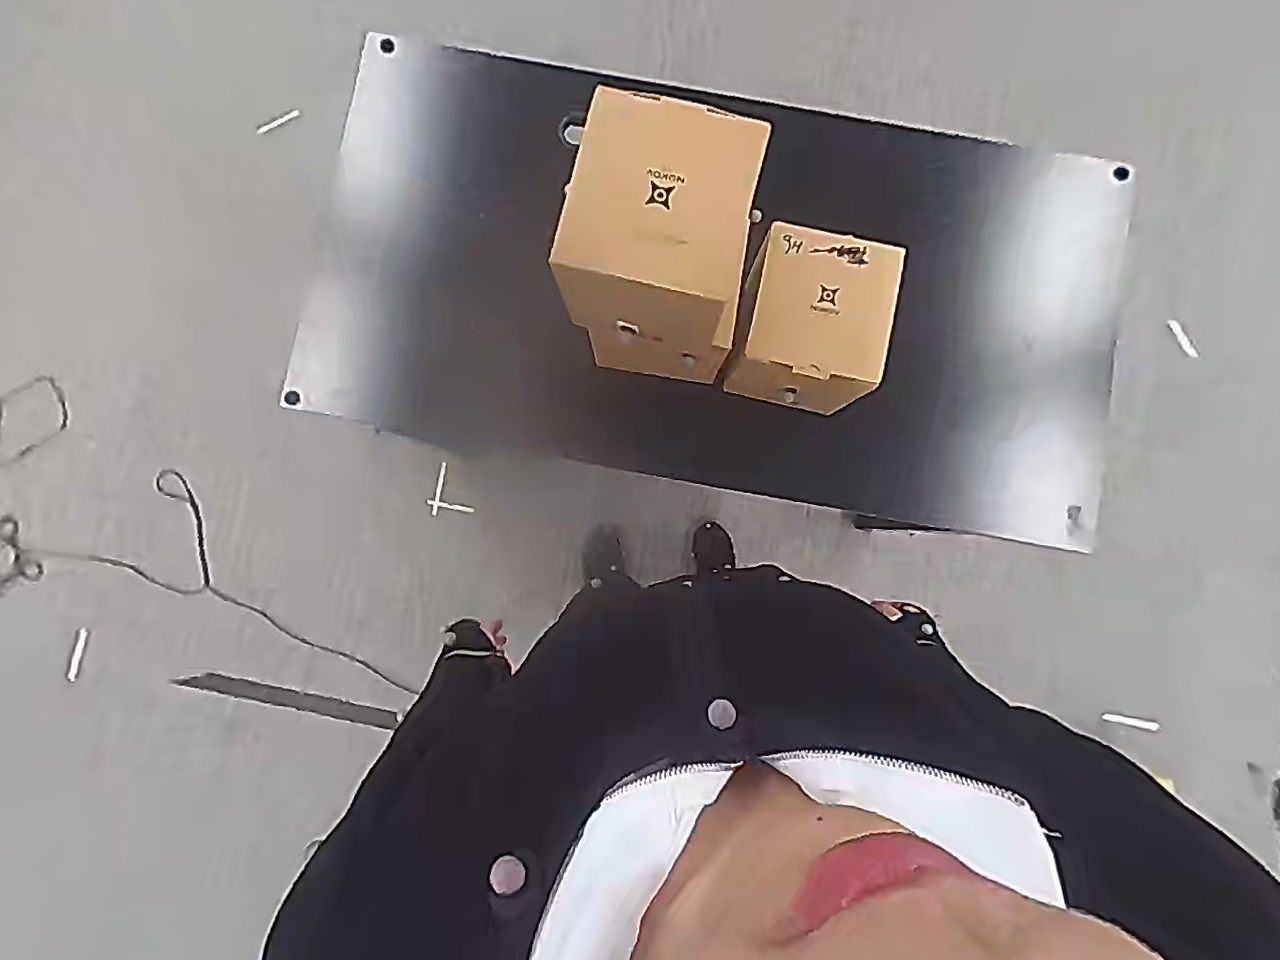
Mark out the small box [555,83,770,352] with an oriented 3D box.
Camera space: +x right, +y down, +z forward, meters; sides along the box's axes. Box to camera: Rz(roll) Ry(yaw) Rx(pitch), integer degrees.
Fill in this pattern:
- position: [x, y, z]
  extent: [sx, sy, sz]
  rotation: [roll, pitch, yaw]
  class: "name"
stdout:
- position: [0.022, -0.255, 0.565]
  extent: [0.168, 0.176, 0.179]
  rotation: [13, 87, 3]
  class: "small box"
